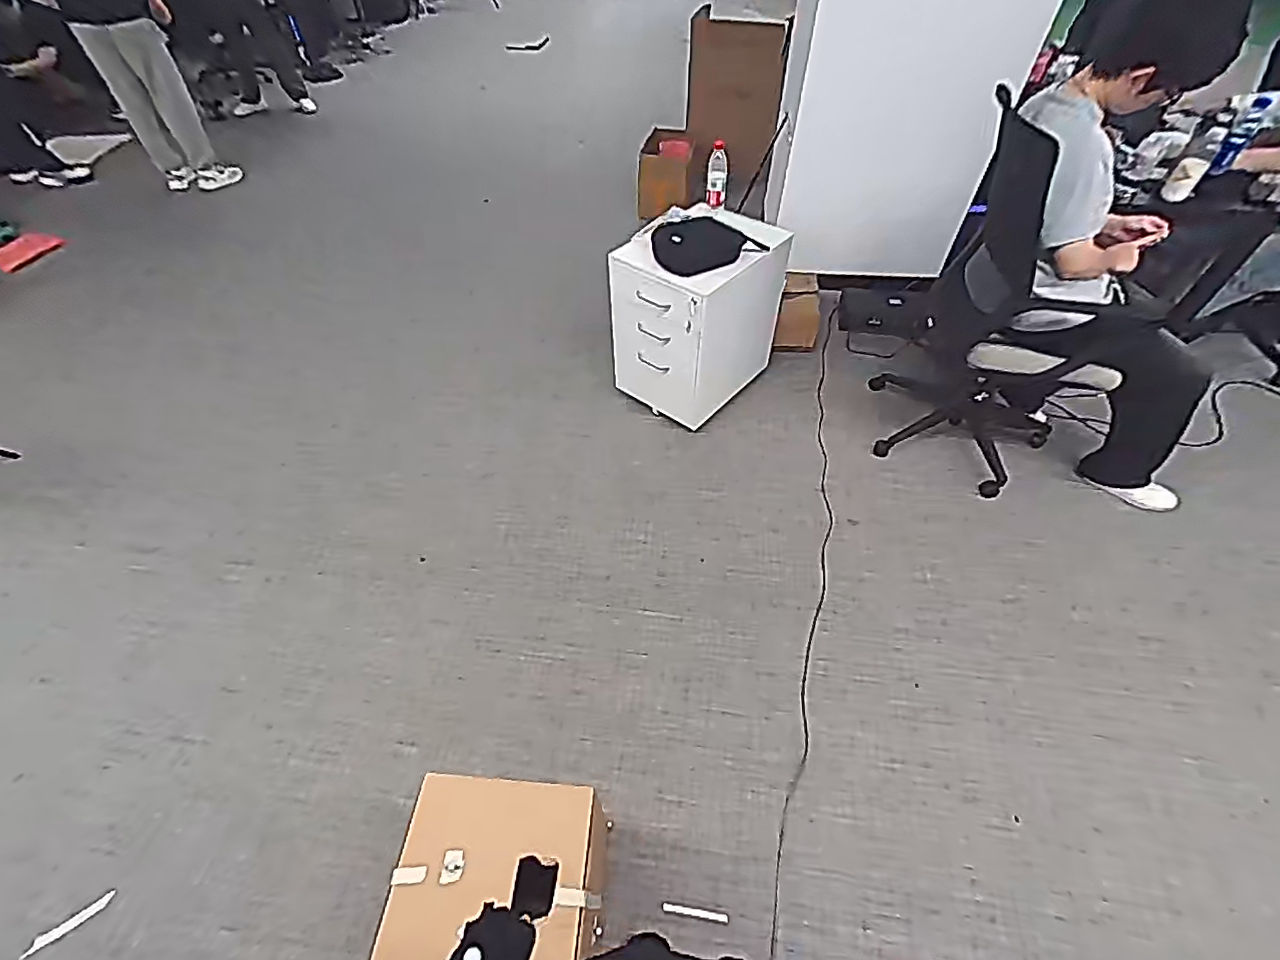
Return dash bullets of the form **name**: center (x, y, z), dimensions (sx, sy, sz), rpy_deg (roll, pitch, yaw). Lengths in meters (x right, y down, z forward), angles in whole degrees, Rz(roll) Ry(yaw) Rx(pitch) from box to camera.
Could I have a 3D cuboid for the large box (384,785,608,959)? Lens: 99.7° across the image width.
- **large box**: center (-0.237, 0.788, 1.022), dimensions (0.320, 0.408, 0.320), rpy_deg (4, 52, 3)
